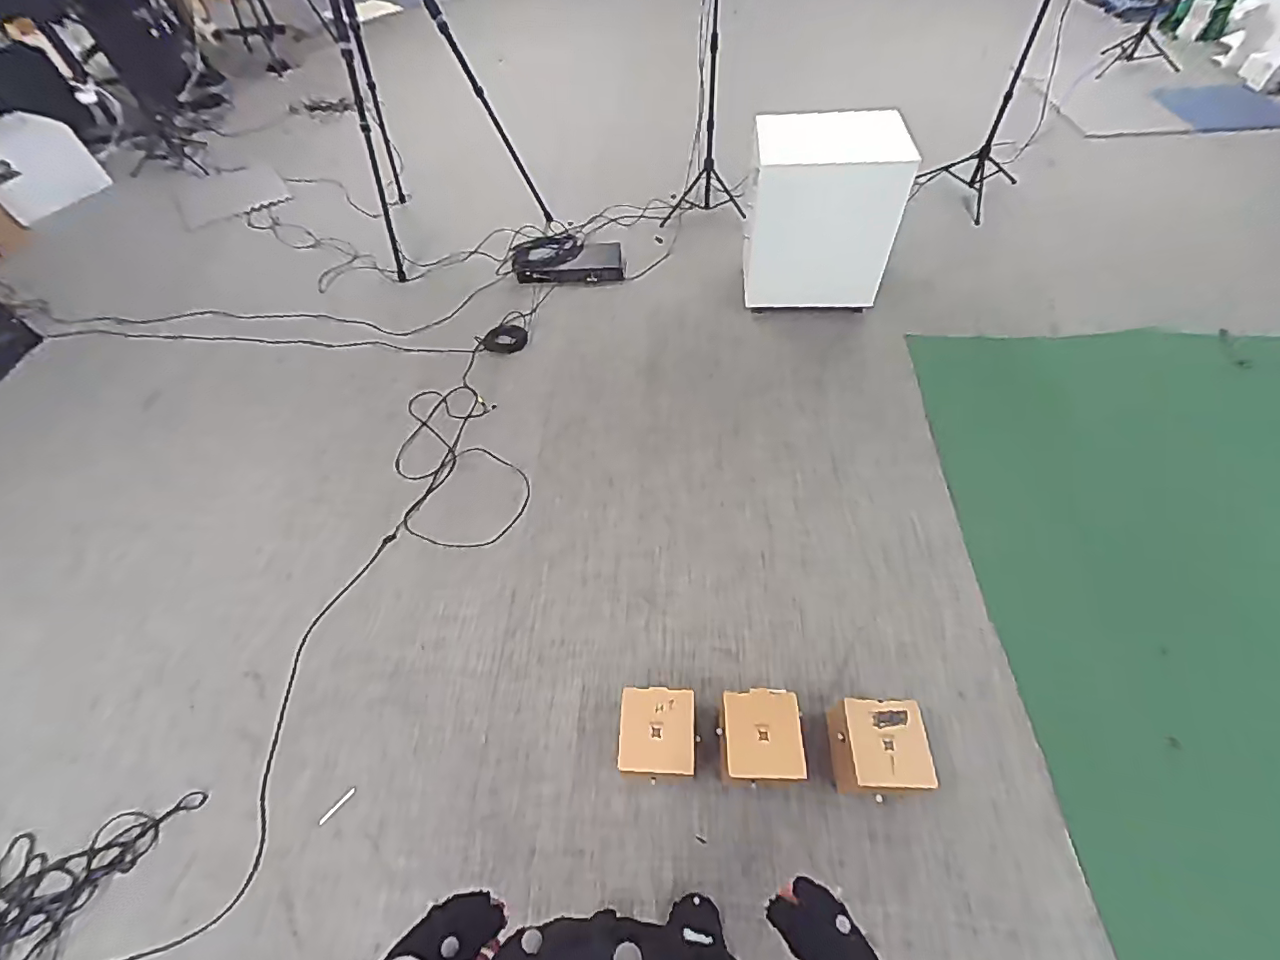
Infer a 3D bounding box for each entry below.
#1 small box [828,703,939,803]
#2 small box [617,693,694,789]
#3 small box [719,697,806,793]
[{"bbox_3d":[0.536,0.616,1.219,0.168,0.176,0.179,0,54,3],"label":"small box"},{"bbox_3d":[0.042,0.608,1.254,0.168,0.176,0.179,1,54,4],"label":"small box"},{"bbox_3d":[0.273,0.611,1.240,0.168,0.176,0.179,0,53,3],"label":"small box"}]
